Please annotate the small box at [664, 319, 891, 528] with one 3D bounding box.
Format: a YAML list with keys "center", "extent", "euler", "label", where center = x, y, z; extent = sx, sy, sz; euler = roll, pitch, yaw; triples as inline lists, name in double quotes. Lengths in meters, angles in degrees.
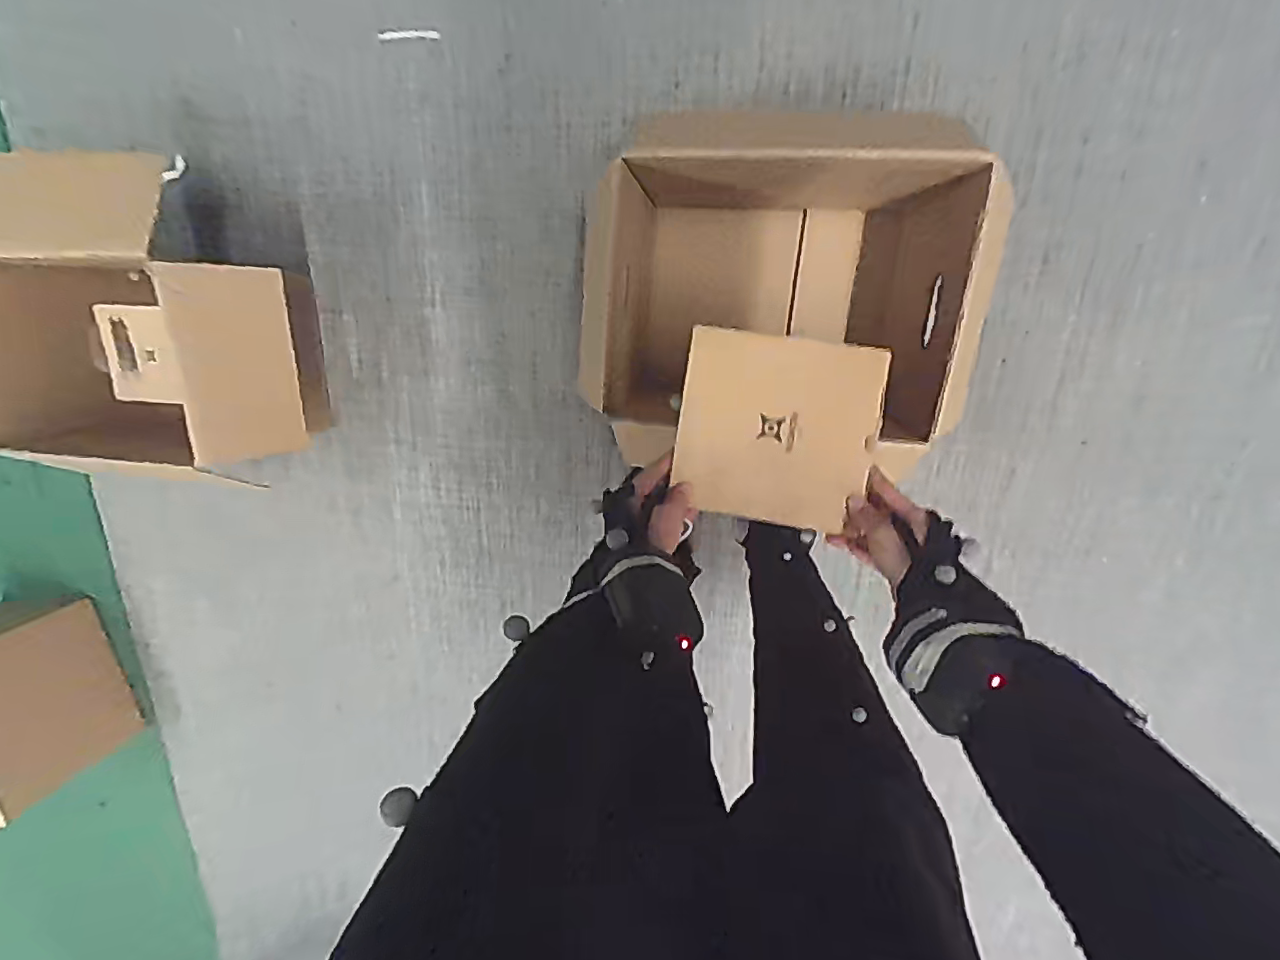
- center: [0.128, -0.051, 0.555]
  extent: [0.179, 0.176, 0.168]
  euler: [9, 92, 5]
  label: "small box"
